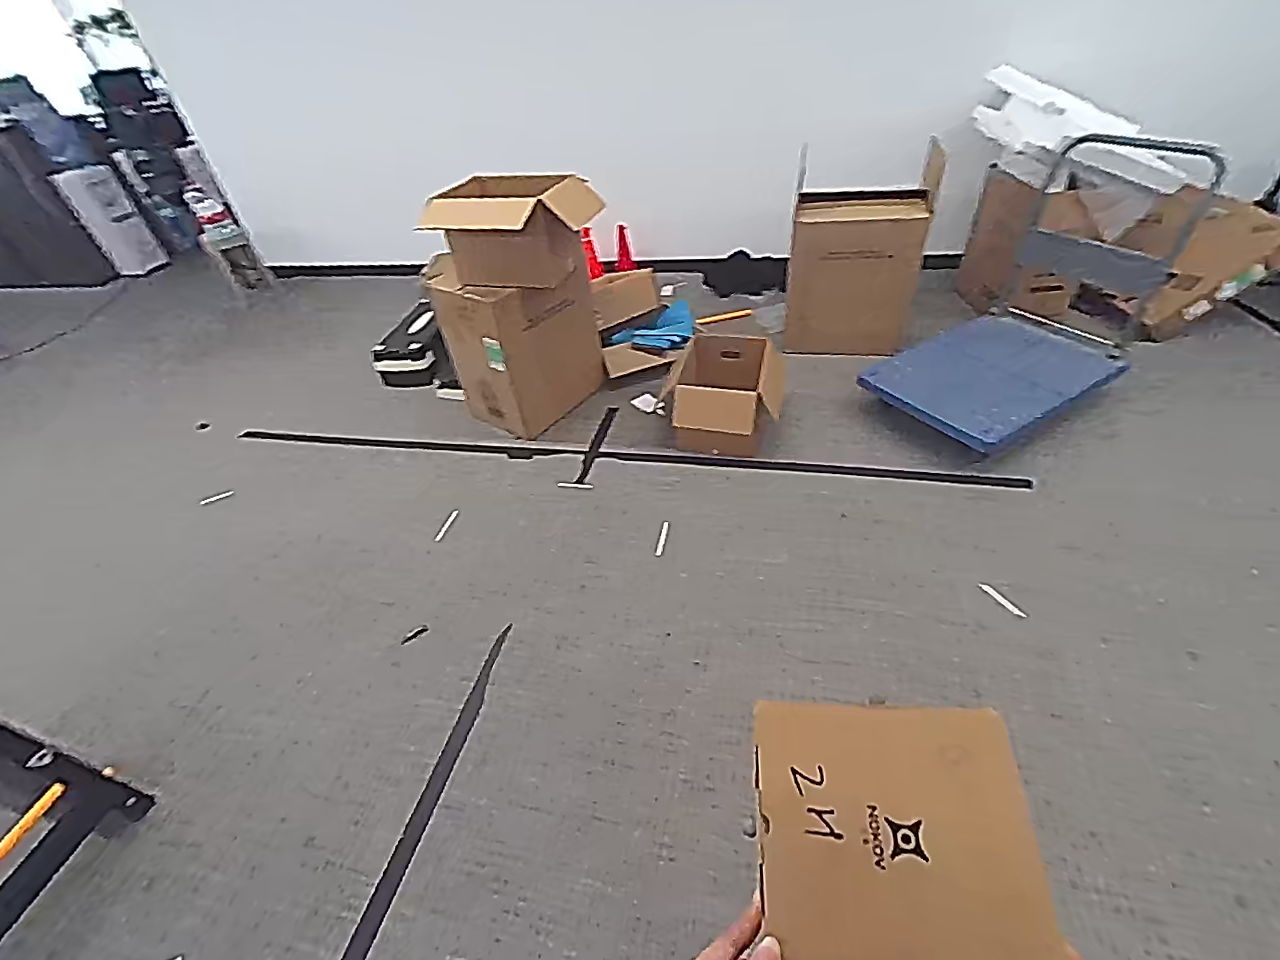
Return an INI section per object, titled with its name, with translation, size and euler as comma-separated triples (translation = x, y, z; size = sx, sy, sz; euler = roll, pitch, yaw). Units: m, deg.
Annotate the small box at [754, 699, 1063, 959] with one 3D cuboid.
[small box]
translation = 0.182, 0.280, 0.427
size = 0.179, 0.176, 0.168
euler = -3, 55, 13
